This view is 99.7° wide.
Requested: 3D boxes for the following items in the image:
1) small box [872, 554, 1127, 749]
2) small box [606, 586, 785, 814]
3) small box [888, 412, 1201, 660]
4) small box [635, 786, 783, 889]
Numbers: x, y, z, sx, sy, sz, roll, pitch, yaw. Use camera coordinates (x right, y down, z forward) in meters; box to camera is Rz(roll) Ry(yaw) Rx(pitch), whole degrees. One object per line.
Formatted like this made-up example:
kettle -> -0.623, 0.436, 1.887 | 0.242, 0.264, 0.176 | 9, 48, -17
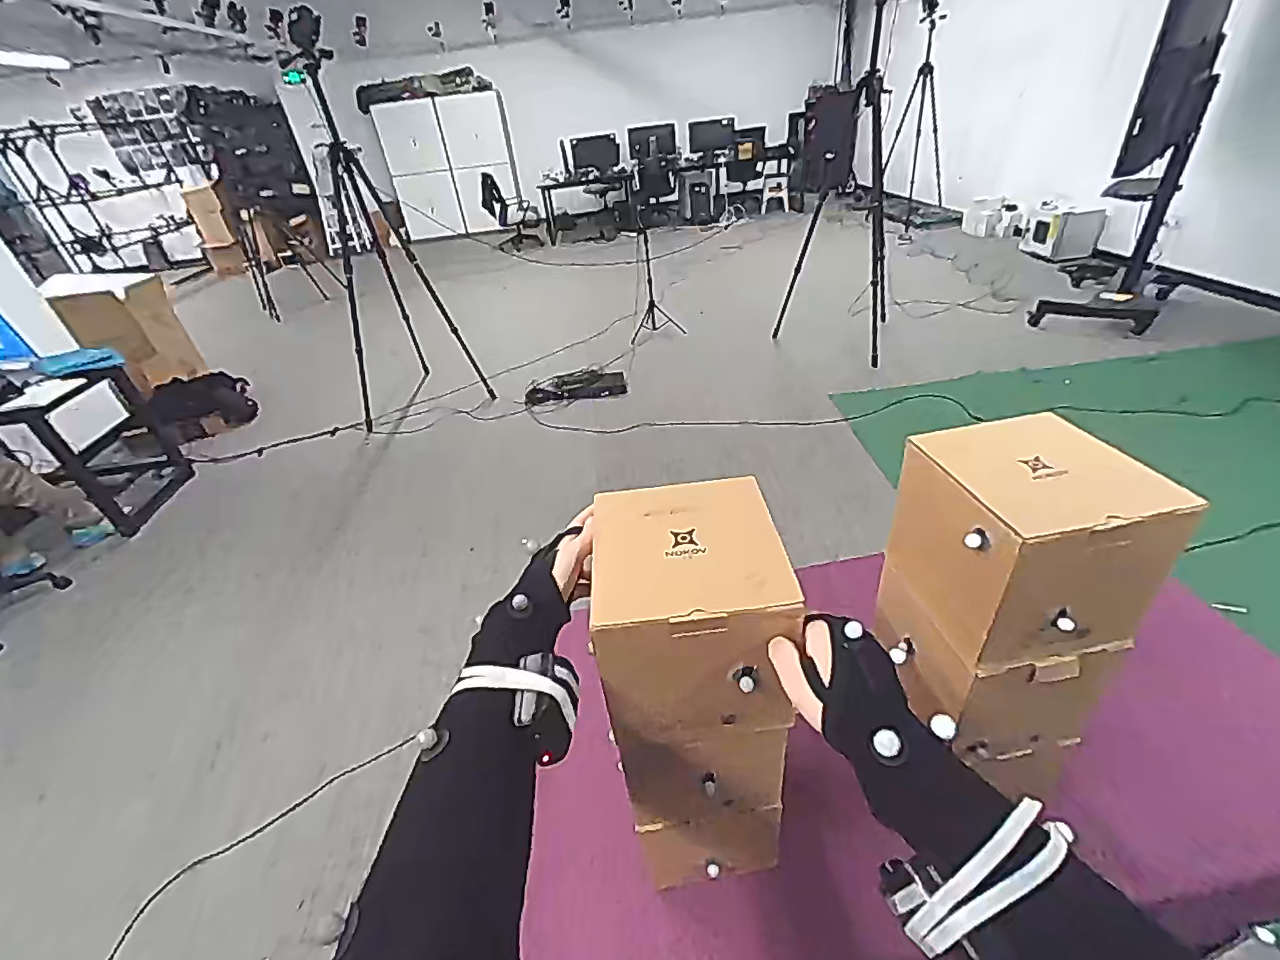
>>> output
small box -> 0.398, 0.191, 0.639 | 0.168, 0.176, 0.179 | -10, 33, -3
small box -> 0.058, 0.252, 0.618 | 0.168, 0.176, 0.179 | -9, 35, -3
small box -> 0.381, 0.052, 0.556 | 0.168, 0.176, 0.179 | -11, 35, -4
small box -> 0.077, 0.389, 0.707 | 0.168, 0.176, 0.179 | -10, 34, -2
